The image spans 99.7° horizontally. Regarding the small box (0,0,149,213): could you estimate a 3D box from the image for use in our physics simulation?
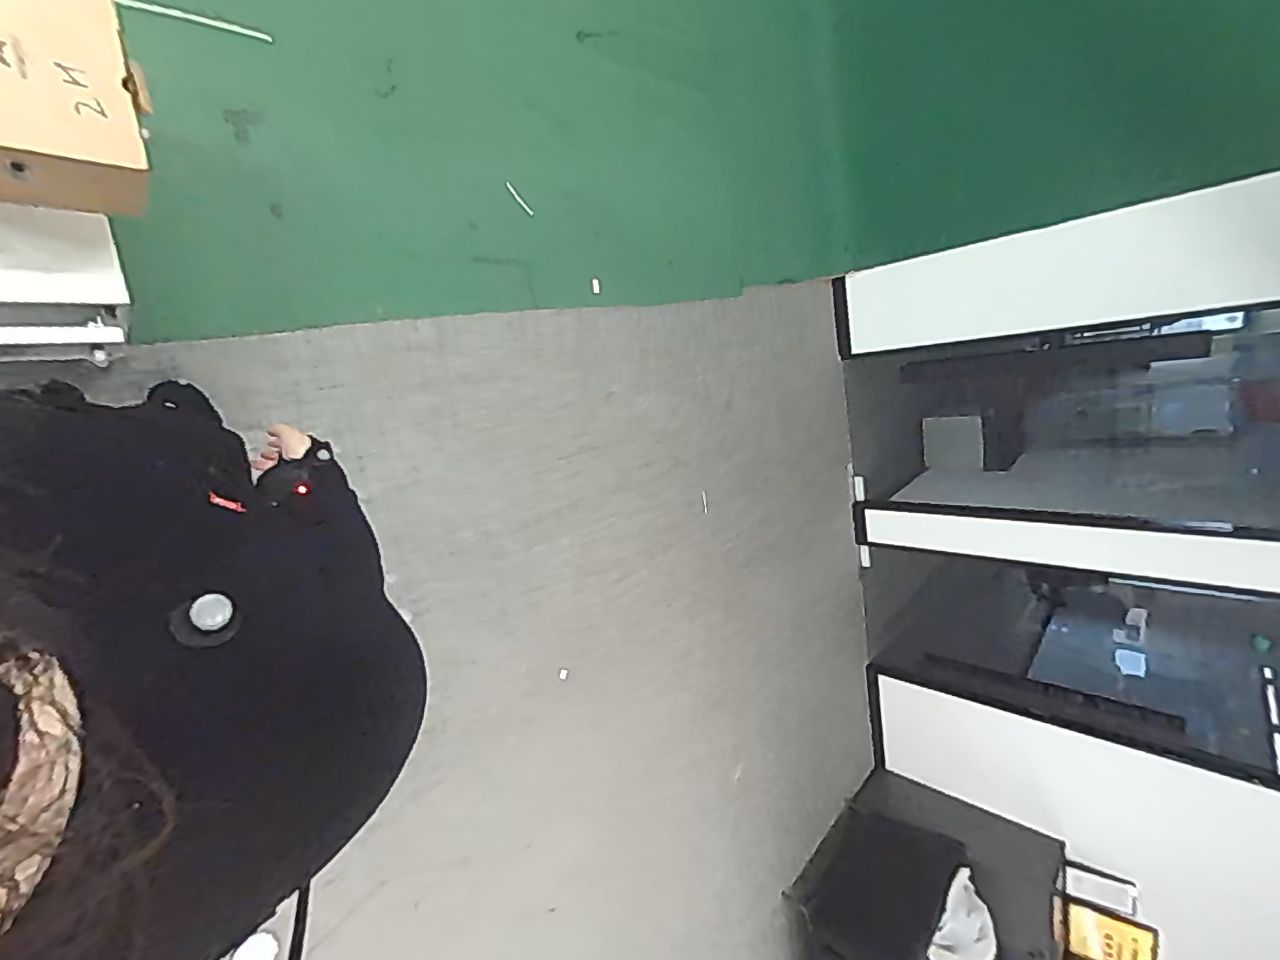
[{"bbox_3d":[-0.626,-0.387,0.543,0.179,0.176,0.168,-14,103,-43],"label":"small box"}]
